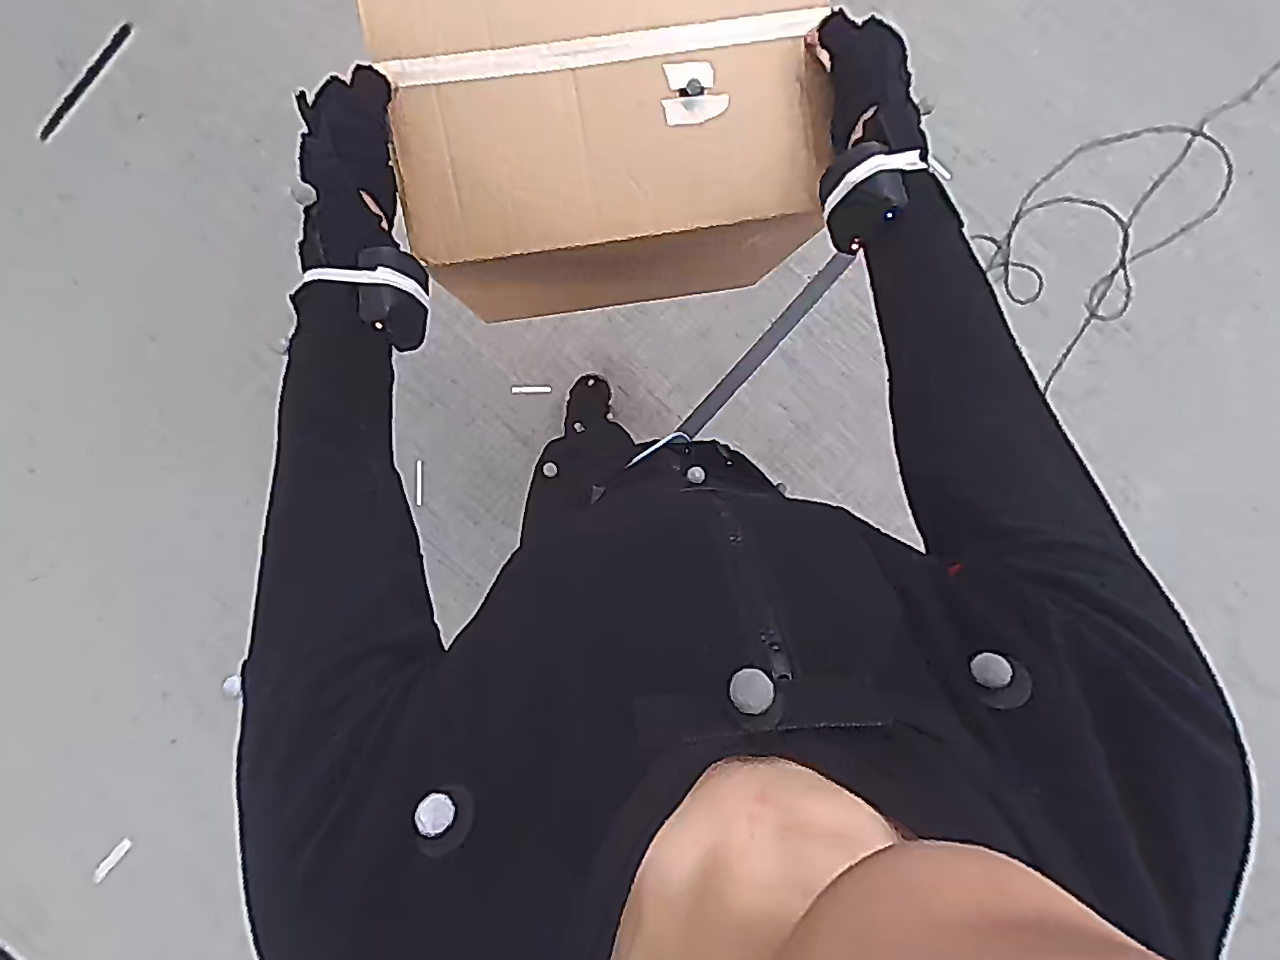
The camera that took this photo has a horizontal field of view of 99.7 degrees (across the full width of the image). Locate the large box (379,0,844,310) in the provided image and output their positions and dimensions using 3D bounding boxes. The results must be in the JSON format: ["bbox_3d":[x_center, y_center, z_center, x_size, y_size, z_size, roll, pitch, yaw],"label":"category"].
[{"bbox_3d":[-0.037,-0.407,0.629,0.408,0.320,0.320,-9,98,-4],"label":"large box"}]
